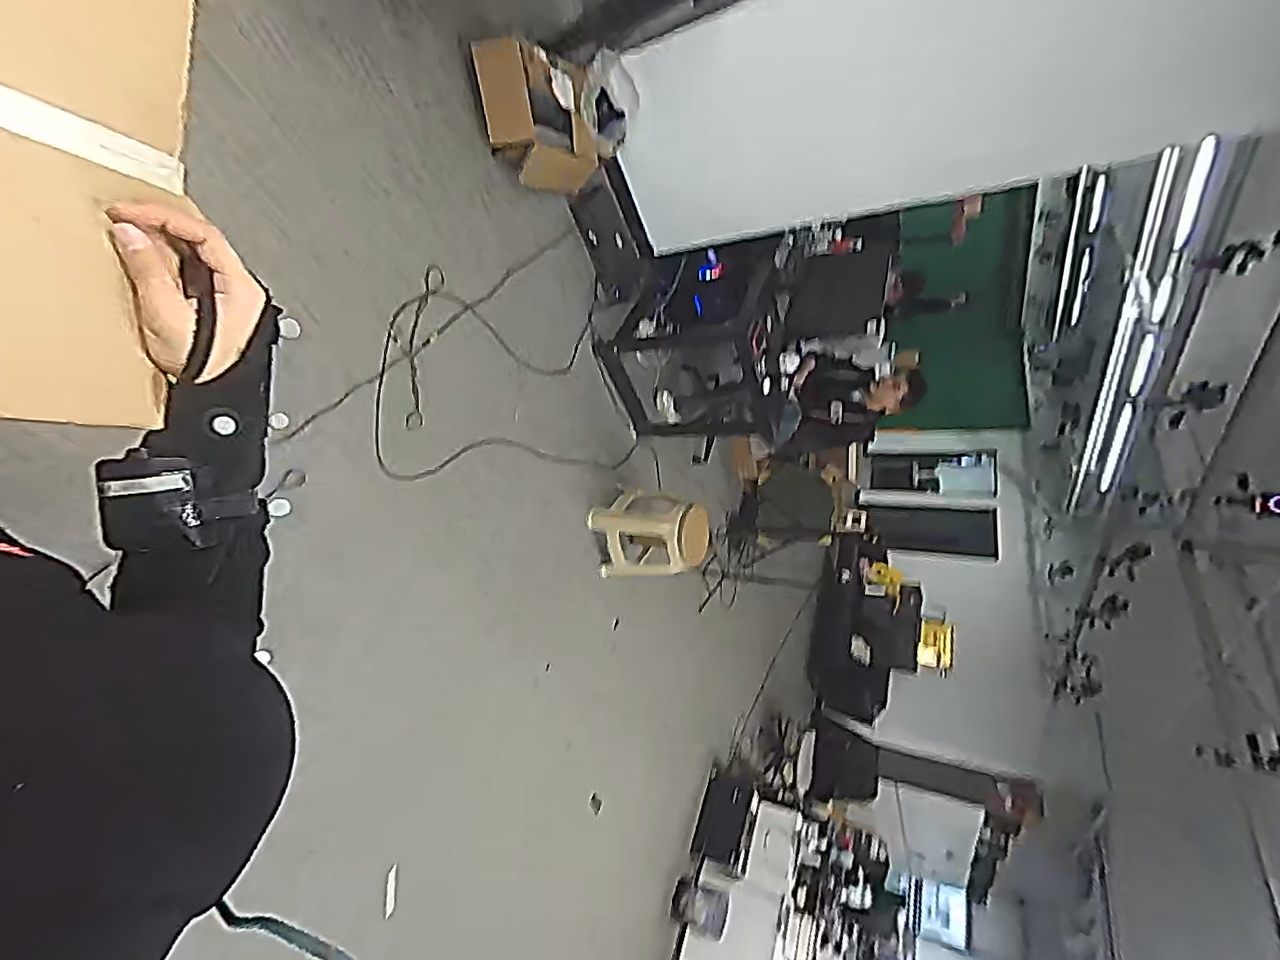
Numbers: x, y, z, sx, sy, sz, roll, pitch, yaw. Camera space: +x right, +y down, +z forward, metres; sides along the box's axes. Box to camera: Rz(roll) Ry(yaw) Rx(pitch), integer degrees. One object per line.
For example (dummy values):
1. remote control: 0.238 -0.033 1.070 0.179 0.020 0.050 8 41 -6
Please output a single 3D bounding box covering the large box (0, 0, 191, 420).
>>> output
1. large box: -0.525 -0.203 0.255 0.408 0.320 0.320 -1 98 -59
